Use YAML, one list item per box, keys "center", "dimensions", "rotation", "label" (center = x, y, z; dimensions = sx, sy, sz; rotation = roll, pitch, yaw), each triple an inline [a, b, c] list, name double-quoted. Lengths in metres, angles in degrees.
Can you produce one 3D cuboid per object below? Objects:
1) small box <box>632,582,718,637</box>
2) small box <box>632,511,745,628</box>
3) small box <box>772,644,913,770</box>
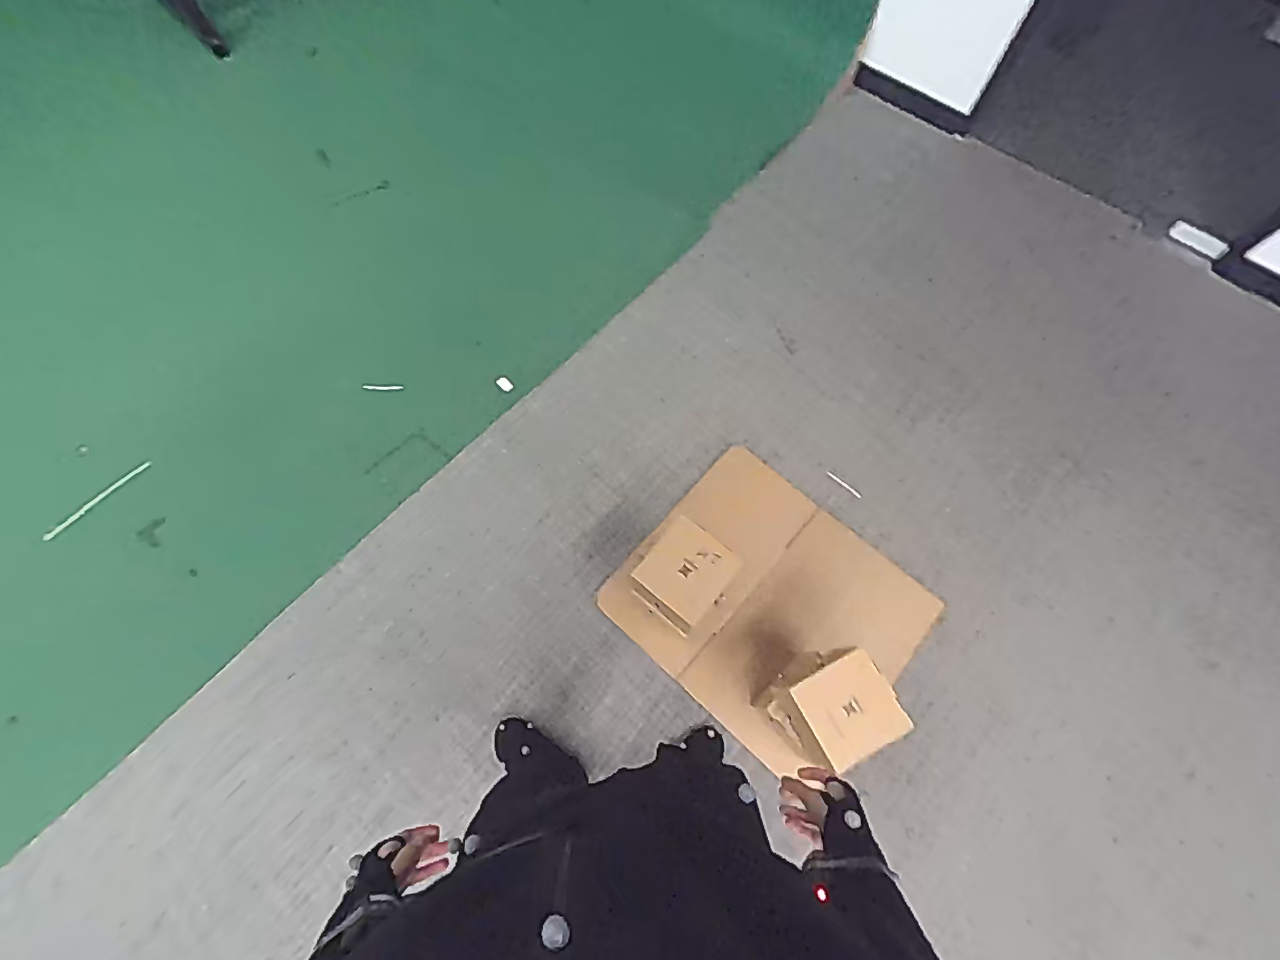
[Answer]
- center: [0.098, 0.264, 1.327]
  dimensions: [0.168, 0.176, 0.179]
  rotation: [39, 73, 13]
  label: "small box"
- center: [0.101, 0.201, 1.175]
  dimensions: [0.168, 0.176, 0.179]
  rotation: [39, 74, 13]
  label: "small box"
- center: [0.392, 0.445, 1.081]
  dimensions: [0.179, 0.176, 0.168]
  rotation: [-25, 72, -9]
  label: "small box"
